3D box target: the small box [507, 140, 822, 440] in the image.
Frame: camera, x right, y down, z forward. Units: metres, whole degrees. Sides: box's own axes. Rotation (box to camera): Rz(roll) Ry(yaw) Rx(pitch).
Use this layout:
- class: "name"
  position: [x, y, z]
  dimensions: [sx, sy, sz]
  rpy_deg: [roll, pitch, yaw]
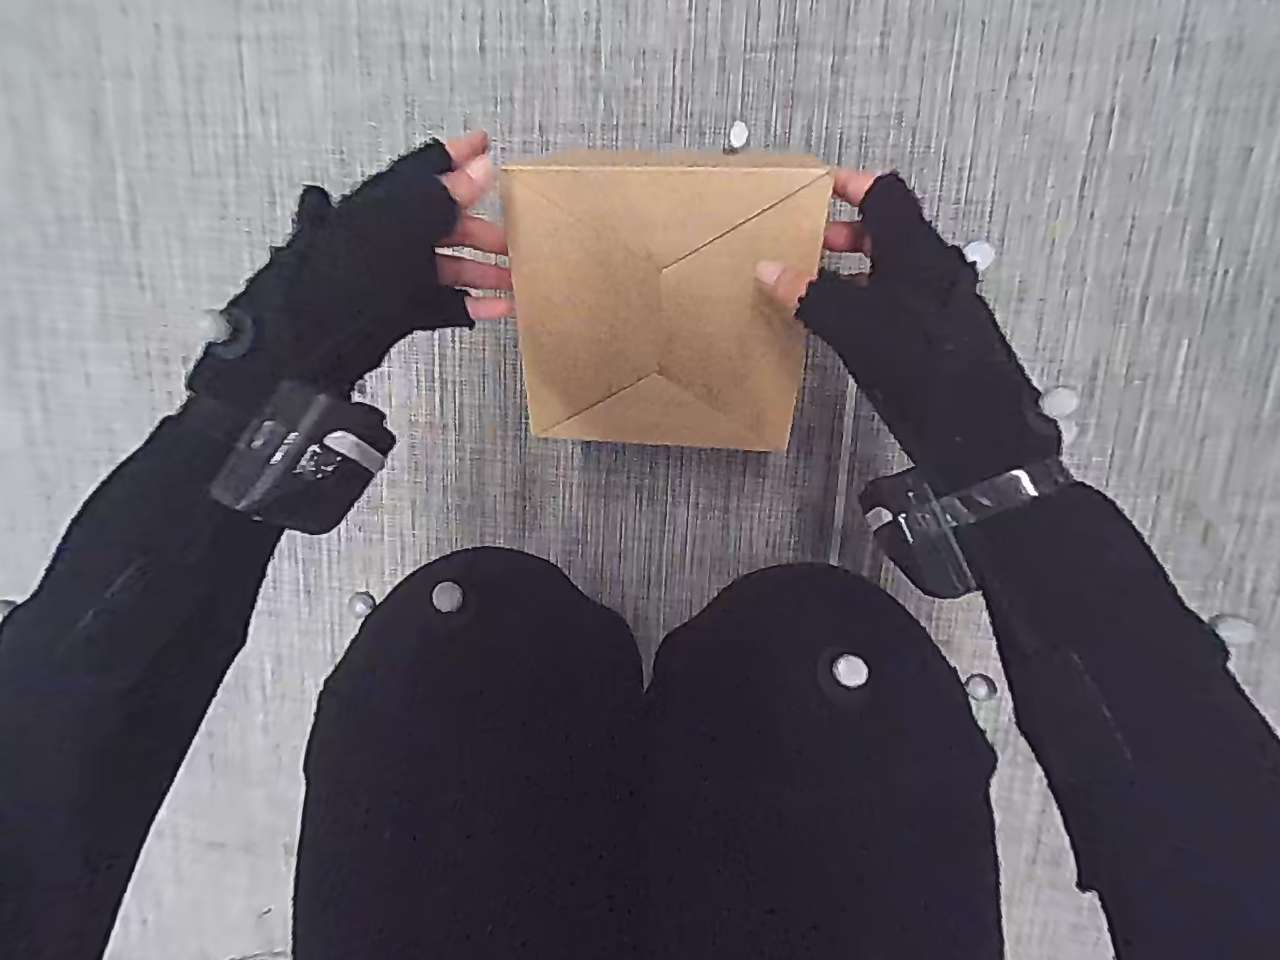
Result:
- class: "small box"
  position: [0.024, -0.140, 0.387]
  dimensions: [0.179, 0.176, 0.168]
  rpy_deg: [4, 126, 6]
